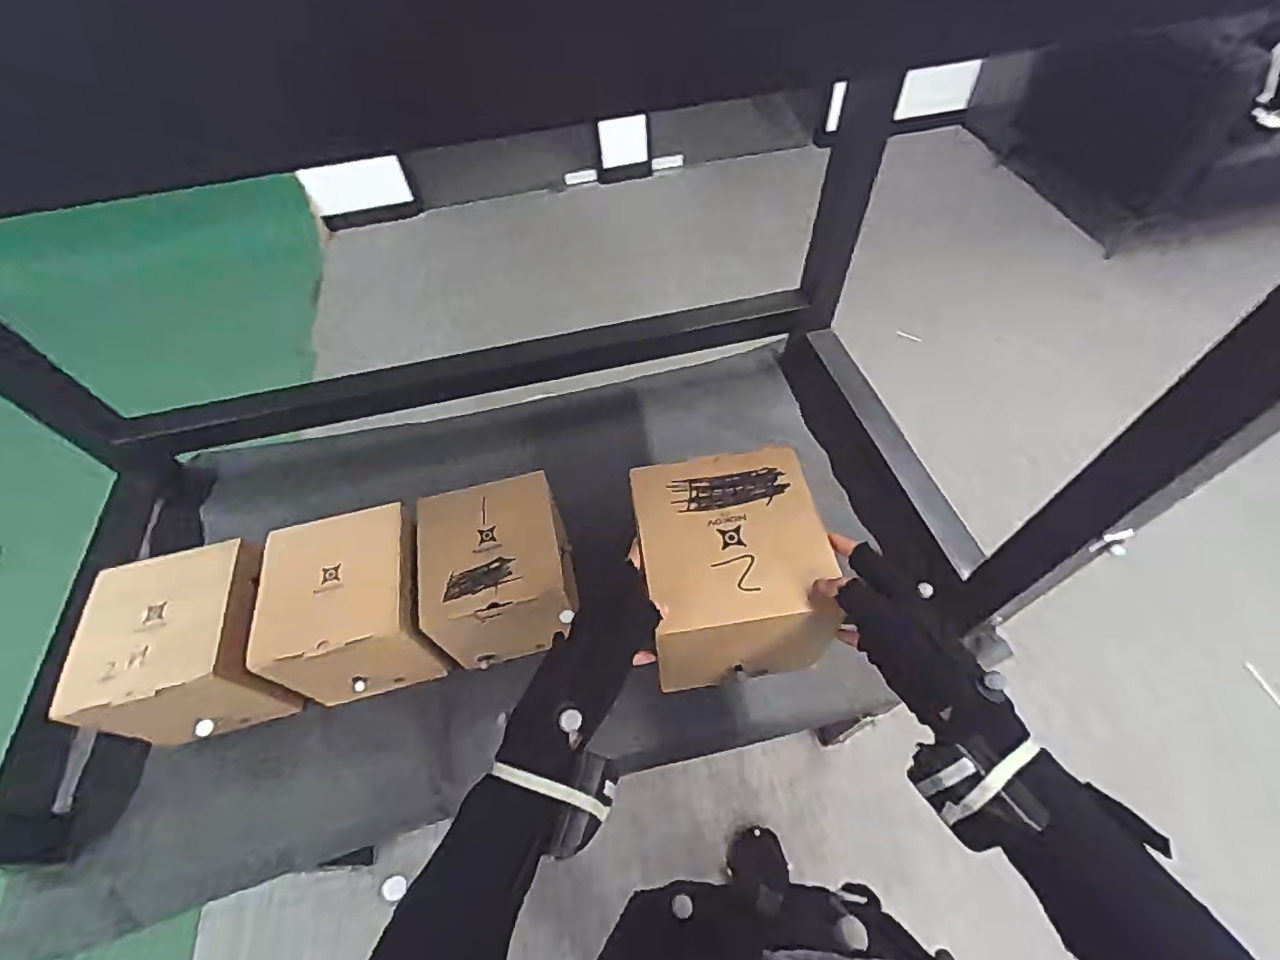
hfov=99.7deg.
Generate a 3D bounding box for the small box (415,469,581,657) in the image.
[{"bbox_3d":[-0.180,0.116,0.709,0.168,0.176,0.179,-13,55,-5],"label":"small box"}]

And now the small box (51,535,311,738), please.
[{"bbox_3d":[-0.544,0.199,0.677,0.168,0.176,0.179,-14,55,-5],"label":"small box"}]
